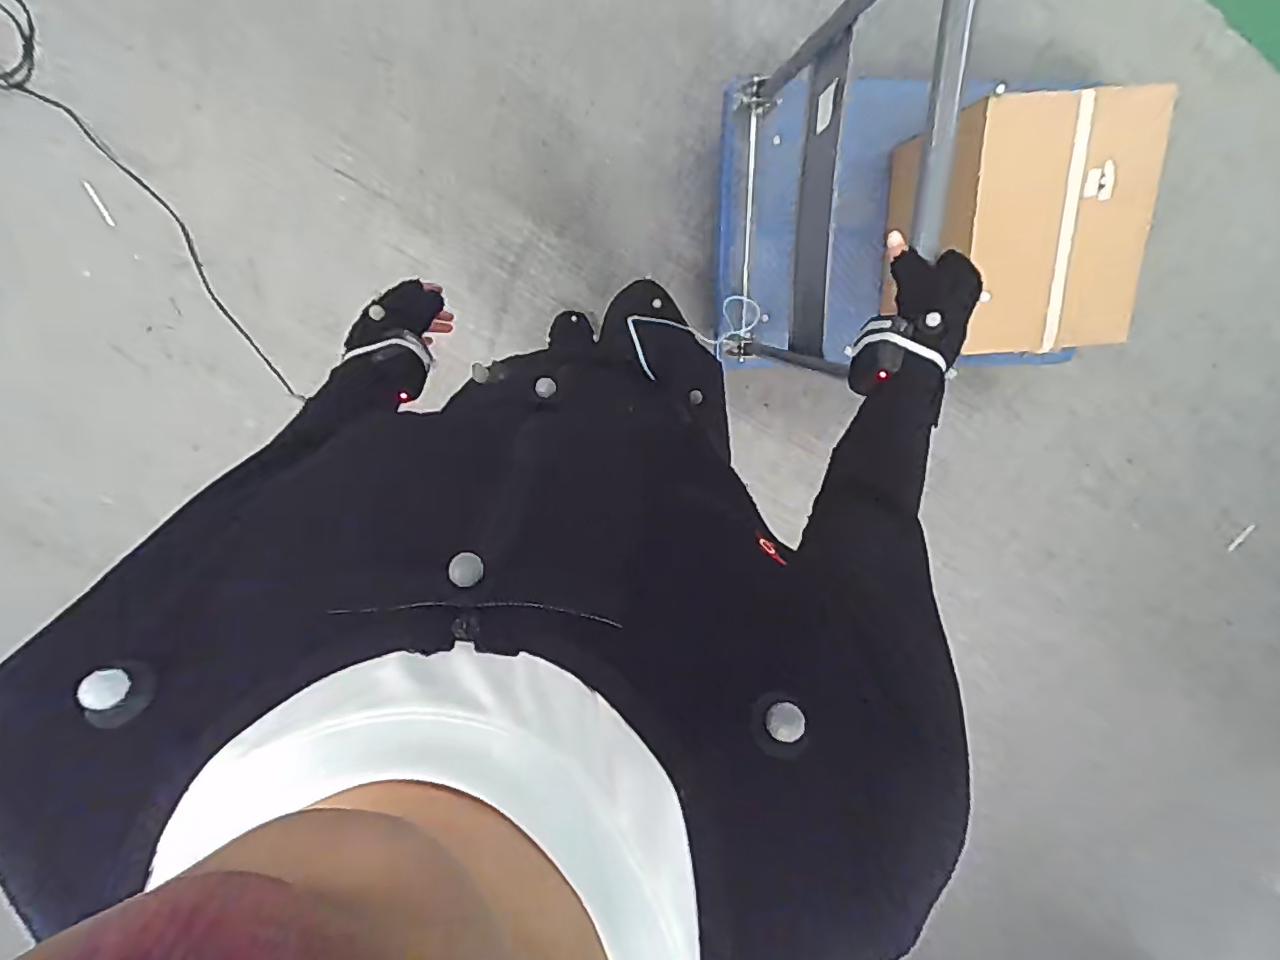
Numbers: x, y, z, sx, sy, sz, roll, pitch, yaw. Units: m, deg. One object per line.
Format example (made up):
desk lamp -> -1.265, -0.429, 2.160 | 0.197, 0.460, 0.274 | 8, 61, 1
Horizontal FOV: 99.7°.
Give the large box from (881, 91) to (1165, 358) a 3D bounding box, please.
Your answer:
large box -> 0.697, -0.463, 1.058 | 0.320, 0.320, 0.408 | -5, 107, -3
